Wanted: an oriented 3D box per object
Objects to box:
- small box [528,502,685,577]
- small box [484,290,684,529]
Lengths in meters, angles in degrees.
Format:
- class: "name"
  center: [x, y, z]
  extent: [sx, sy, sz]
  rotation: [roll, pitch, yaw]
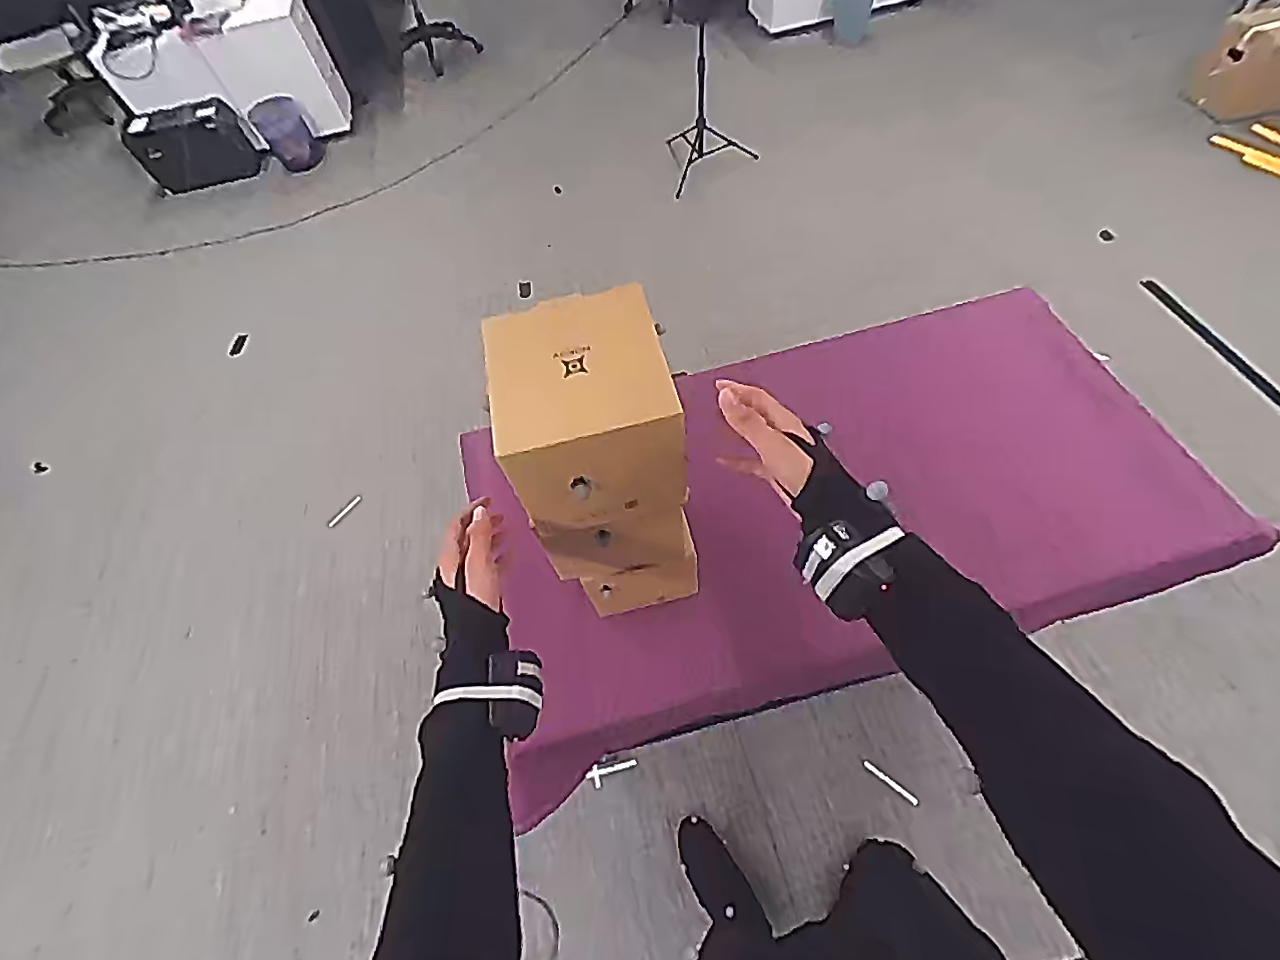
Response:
- class: "small box"
  center: [-0.040, 0.017, 0.714]
  extent: [0.179, 0.176, 0.168]
  rotation: [-8, 59, 1]
- class: "small box"
  center: [-0.053, -0.063, 0.572]
  extent: [0.168, 0.176, 0.179]
  rotation: [-14, 58, -2]
